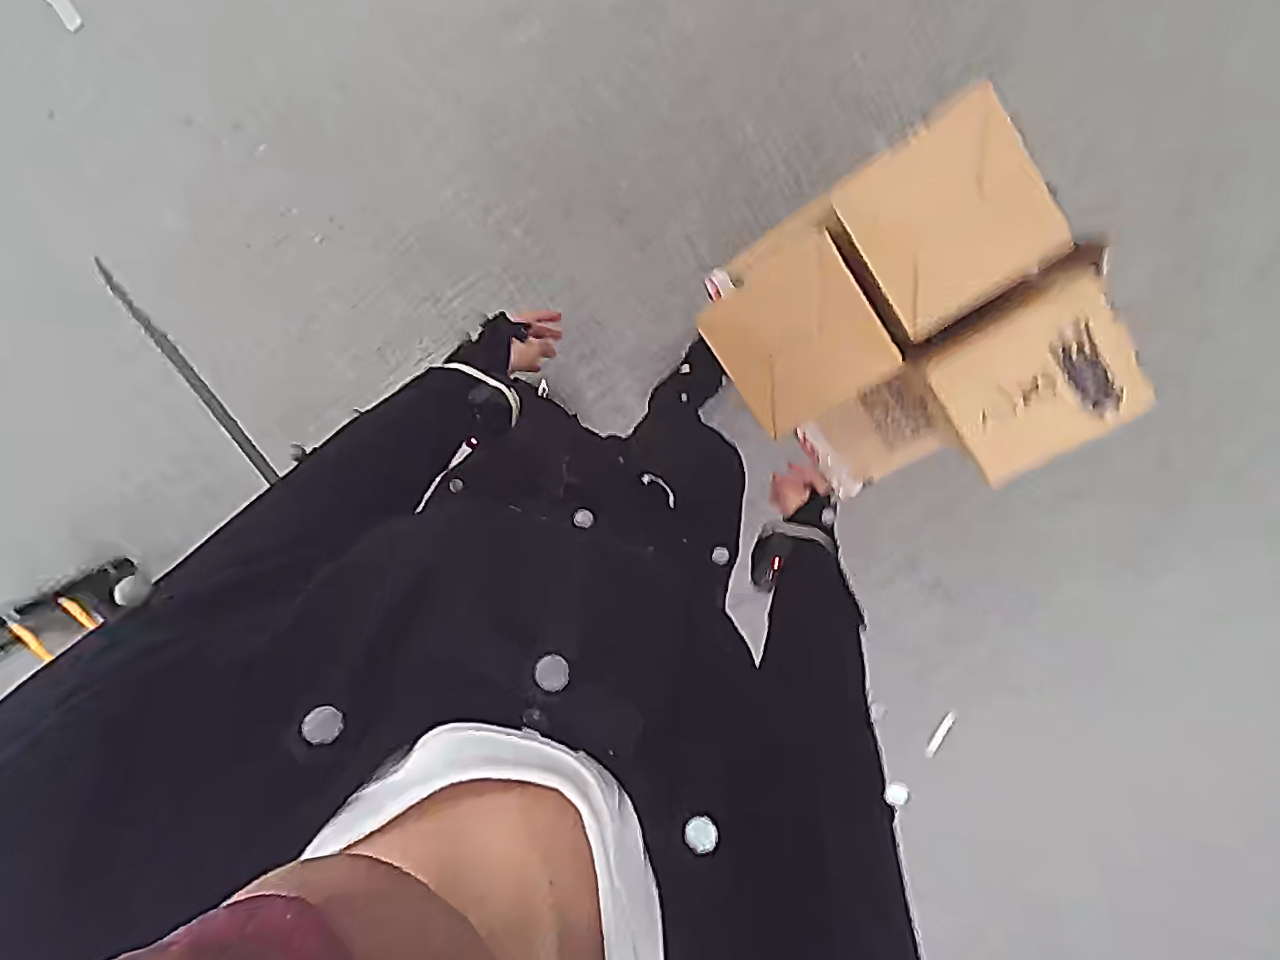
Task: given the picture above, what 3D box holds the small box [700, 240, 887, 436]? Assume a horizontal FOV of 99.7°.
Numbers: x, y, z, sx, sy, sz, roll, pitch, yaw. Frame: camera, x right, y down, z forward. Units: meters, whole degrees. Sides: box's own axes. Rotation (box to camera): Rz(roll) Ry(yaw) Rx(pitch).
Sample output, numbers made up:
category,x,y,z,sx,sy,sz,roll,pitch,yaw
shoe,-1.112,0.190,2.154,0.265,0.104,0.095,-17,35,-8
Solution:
category,x,y,z,sx,sy,sz,roll,pitch,yaw
small box,0.189,-0.185,0.691,0.168,0.176,0.179,-31,102,22
